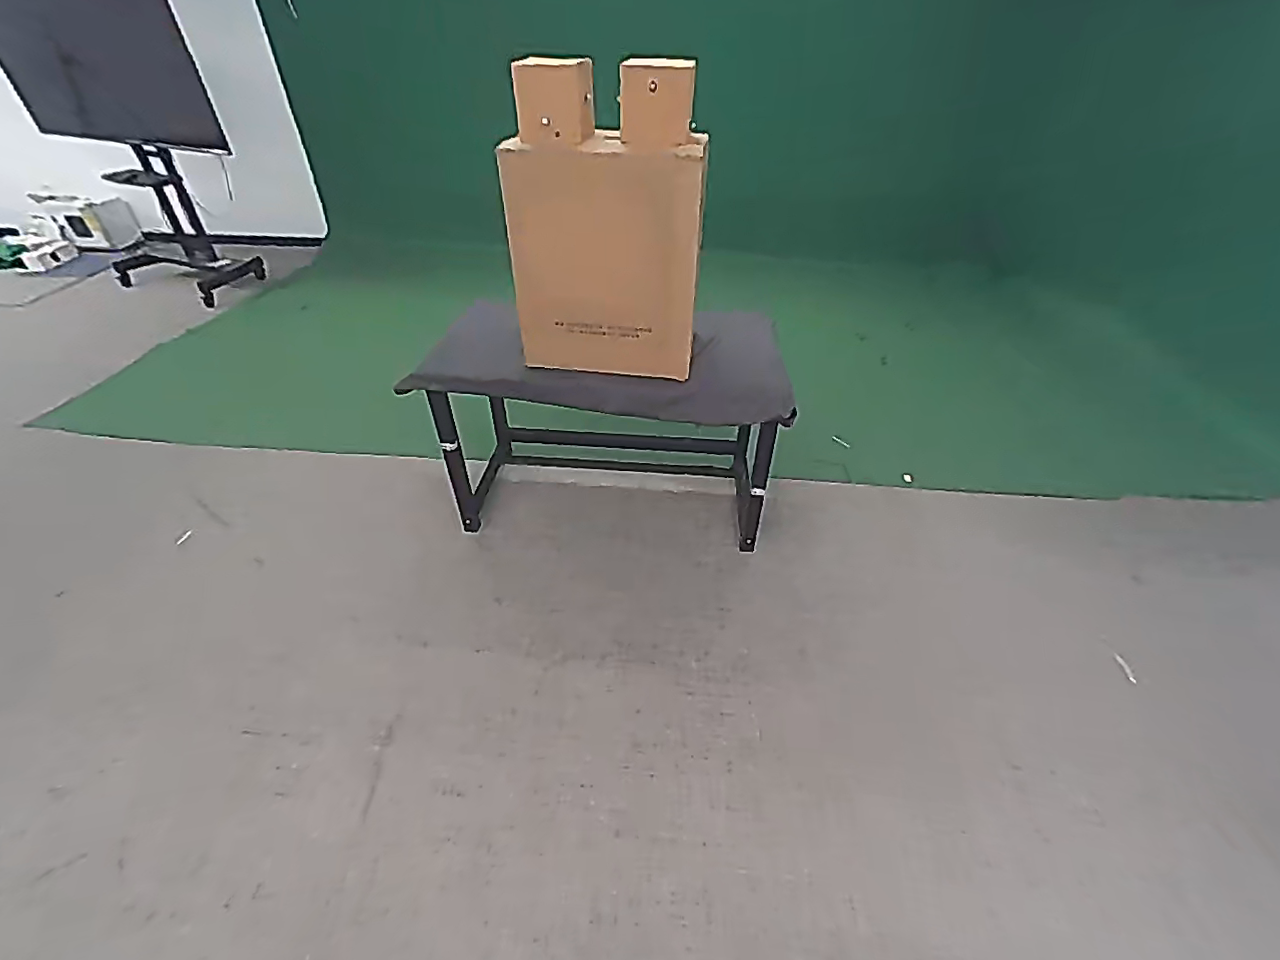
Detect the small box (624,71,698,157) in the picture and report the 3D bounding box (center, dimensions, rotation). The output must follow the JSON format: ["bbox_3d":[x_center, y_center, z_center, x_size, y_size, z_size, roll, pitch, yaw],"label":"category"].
[{"bbox_3d":[0.054,-0.970,1.433,0.179,0.176,0.168,7,42,4],"label":"small box"}]

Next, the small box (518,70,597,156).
[{"bbox_3d":[-0.212,-0.979,1.440,0.168,0.176,0.179,5,42,7],"label":"small box"}]
